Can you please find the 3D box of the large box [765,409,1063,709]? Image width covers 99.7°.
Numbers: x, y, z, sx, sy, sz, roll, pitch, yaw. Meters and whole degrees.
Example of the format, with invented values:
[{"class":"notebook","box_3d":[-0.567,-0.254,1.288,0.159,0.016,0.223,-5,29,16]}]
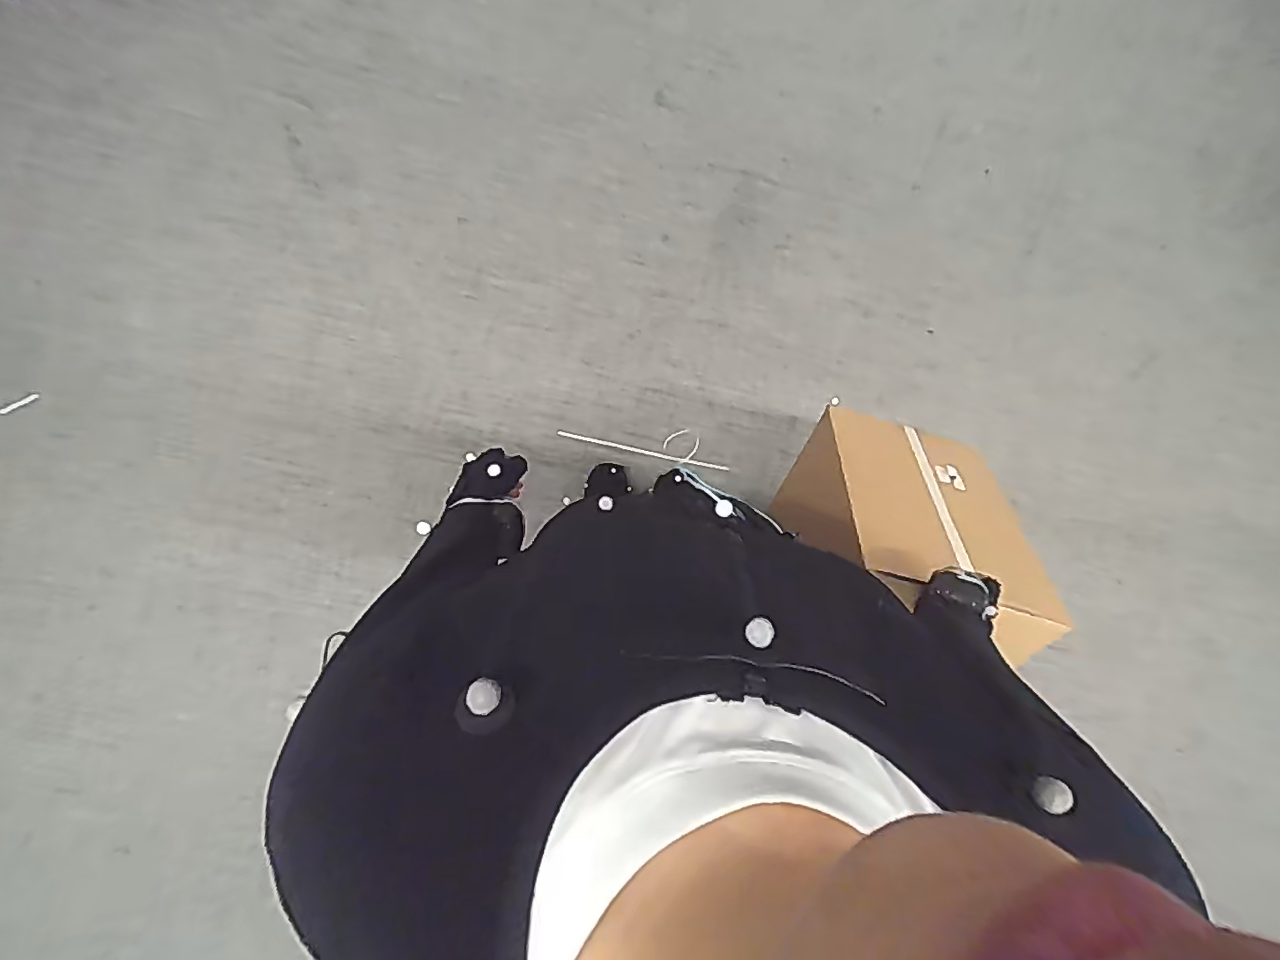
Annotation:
[{"class":"large box","box_3d":[0.437,0.138,0.990,0.320,0.408,0.320,17,131,-4]}]
